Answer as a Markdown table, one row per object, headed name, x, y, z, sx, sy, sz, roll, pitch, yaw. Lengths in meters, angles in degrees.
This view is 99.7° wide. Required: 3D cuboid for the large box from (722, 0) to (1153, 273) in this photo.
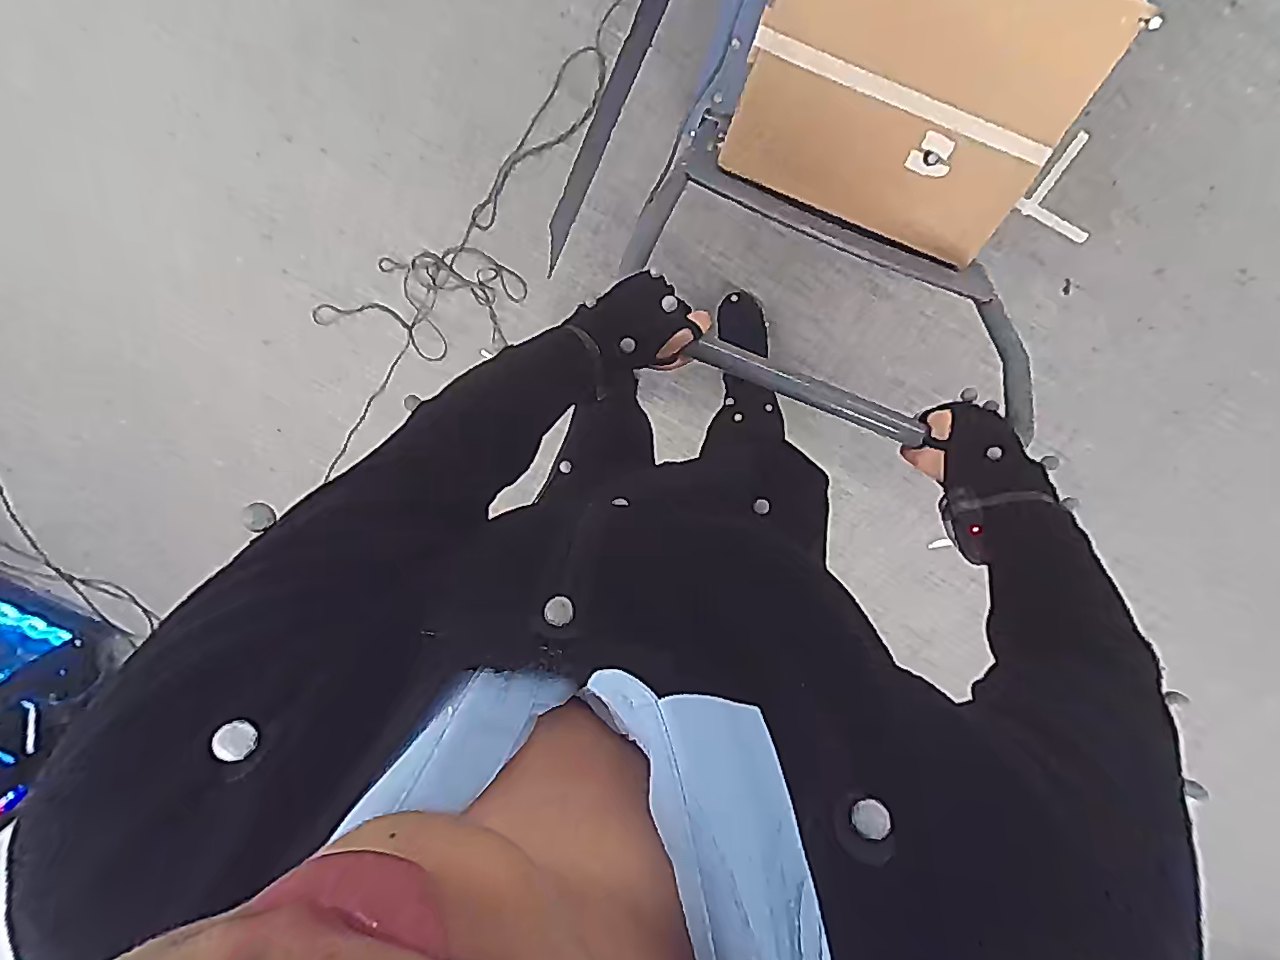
| name | x | y | z | sx | sy | sz | roll | pitch | yaw |
| --- | --- | --- | --- | --- | --- | --- | --- | --- | --- |
| large box | 0.371 | -0.570 | 0.801 | 0.408 | 0.320 | 0.320 | 21 | 132 | -3 |
